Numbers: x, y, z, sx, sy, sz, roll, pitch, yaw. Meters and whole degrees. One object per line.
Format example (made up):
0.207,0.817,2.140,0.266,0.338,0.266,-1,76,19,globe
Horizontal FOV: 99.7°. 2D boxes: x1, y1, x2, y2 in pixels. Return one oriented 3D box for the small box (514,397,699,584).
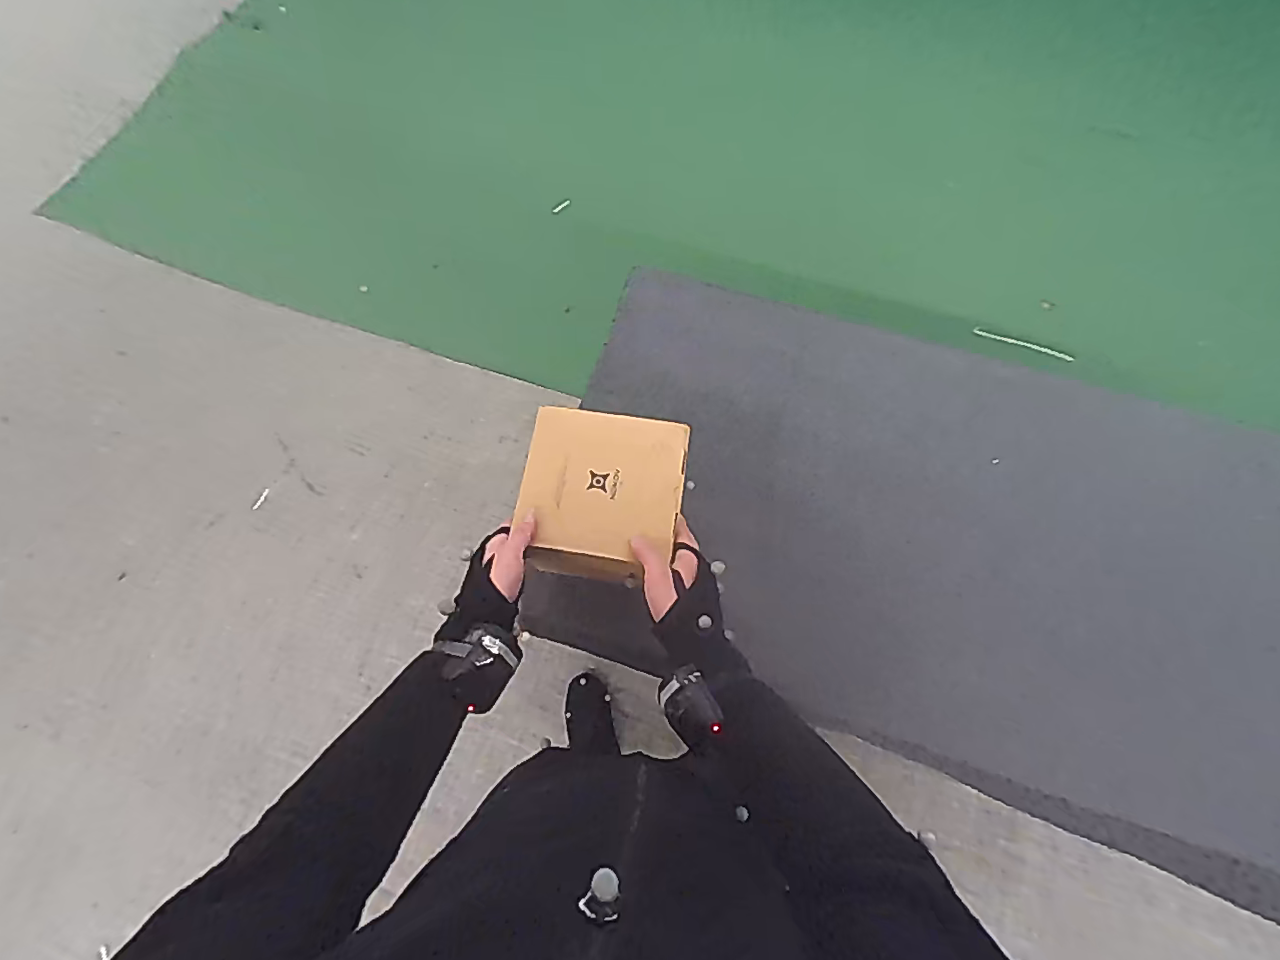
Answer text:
-0.033,0.023,0.649,0.179,0.176,0.168,8,69,2,small box
